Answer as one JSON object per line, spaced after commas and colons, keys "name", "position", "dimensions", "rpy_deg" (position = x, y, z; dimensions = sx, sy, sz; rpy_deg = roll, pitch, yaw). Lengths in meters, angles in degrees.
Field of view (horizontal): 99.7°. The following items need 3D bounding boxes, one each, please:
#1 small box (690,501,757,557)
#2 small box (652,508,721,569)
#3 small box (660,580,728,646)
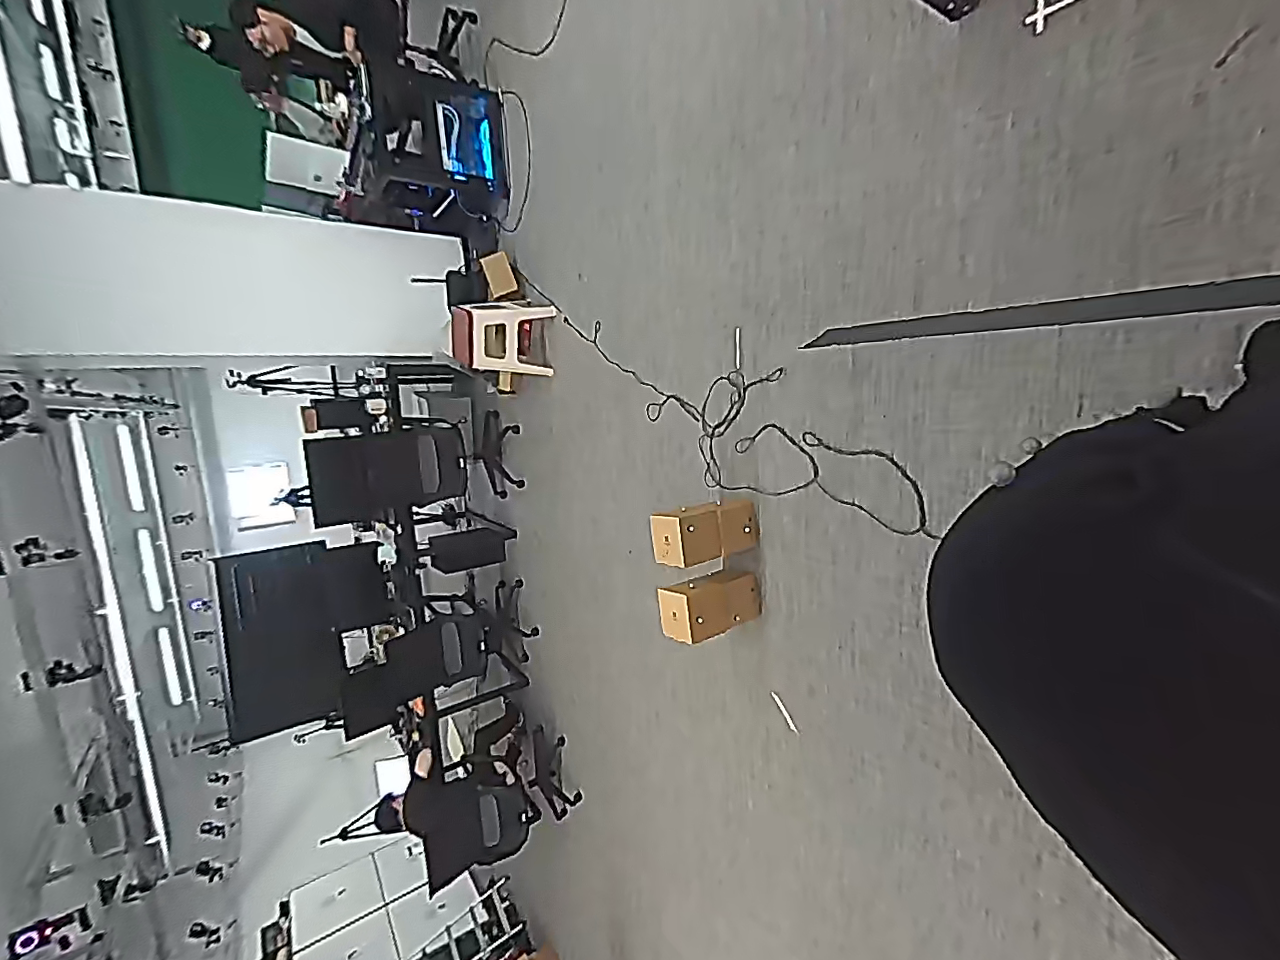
{"name": "small box", "position": [0.305, 0.172, 1.971], "dimensions": [0.179, 0.176, 0.168], "rpy_deg": [3, 101, 55]}
{"name": "small box", "position": [0.164, 0.196, 1.888], "dimensions": [0.168, 0.176, 0.179], "rpy_deg": [0, 99, 56]}
{"name": "small box", "position": [0.193, 0.462, 1.919], "dimensions": [0.168, 0.176, 0.179], "rpy_deg": [-3, 96, 56]}
